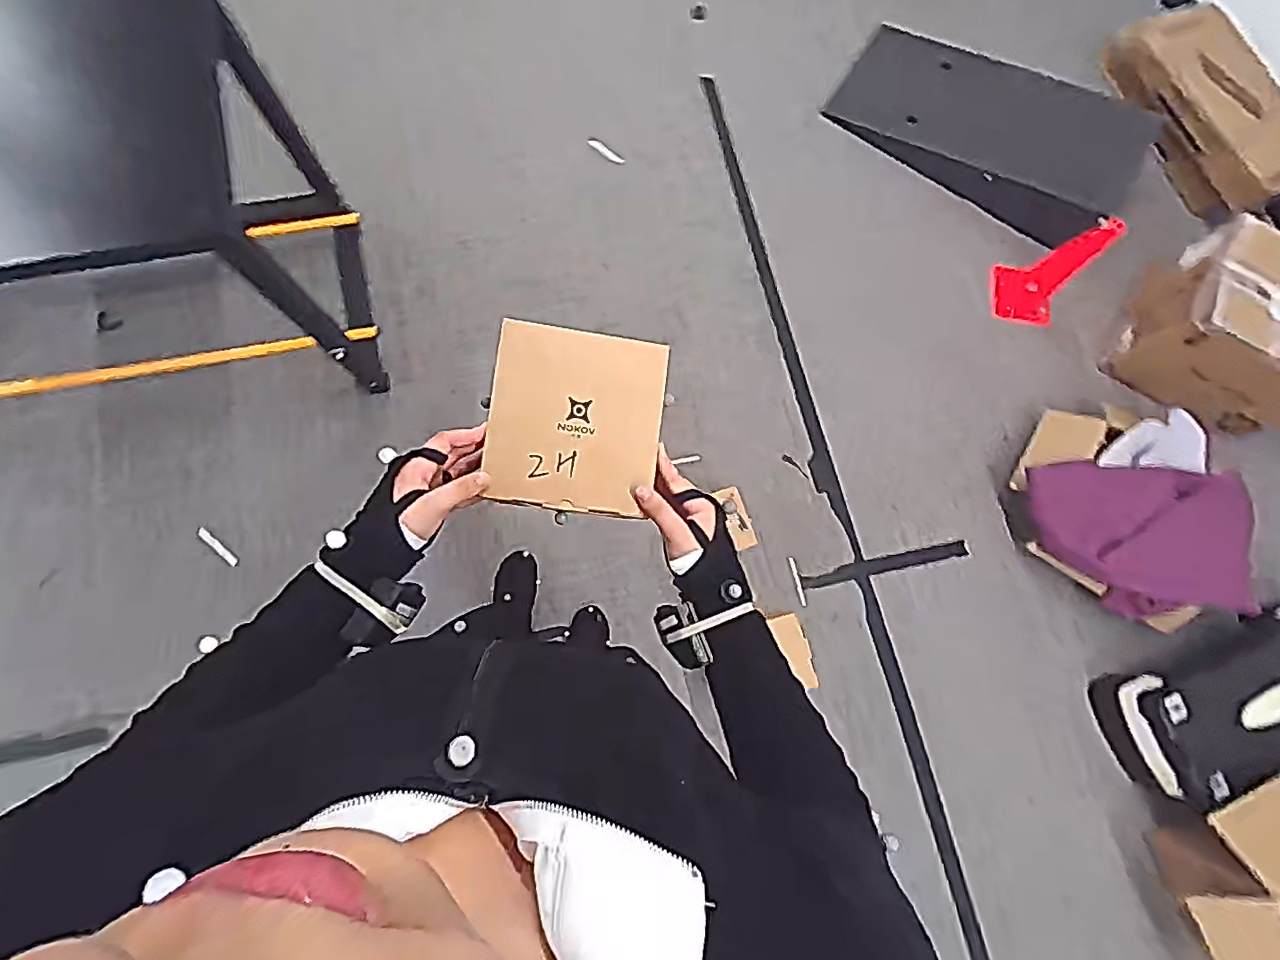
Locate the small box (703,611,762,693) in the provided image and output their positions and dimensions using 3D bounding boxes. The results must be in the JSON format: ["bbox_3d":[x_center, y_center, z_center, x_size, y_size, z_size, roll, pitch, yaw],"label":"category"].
[{"bbox_3d":[0.272,0.446,1.428,0.168,0.176,0.179,-9,80,-6],"label":"small box"}]

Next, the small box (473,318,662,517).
[{"bbox_3d":[-0.079,-0.054,0.597,0.168,0.176,0.179,7,85,-8],"label":"small box"}]

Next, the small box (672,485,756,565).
[{"bbox_3d":[0.193,0.130,1.486,0.179,0.176,0.168,-18,80,-8],"label":"small box"}]

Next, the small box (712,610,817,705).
[{"bbox_3d":[0.284,0.408,1.271,0.179,0.176,0.168,-14,78,-6],"label":"small box"}]
